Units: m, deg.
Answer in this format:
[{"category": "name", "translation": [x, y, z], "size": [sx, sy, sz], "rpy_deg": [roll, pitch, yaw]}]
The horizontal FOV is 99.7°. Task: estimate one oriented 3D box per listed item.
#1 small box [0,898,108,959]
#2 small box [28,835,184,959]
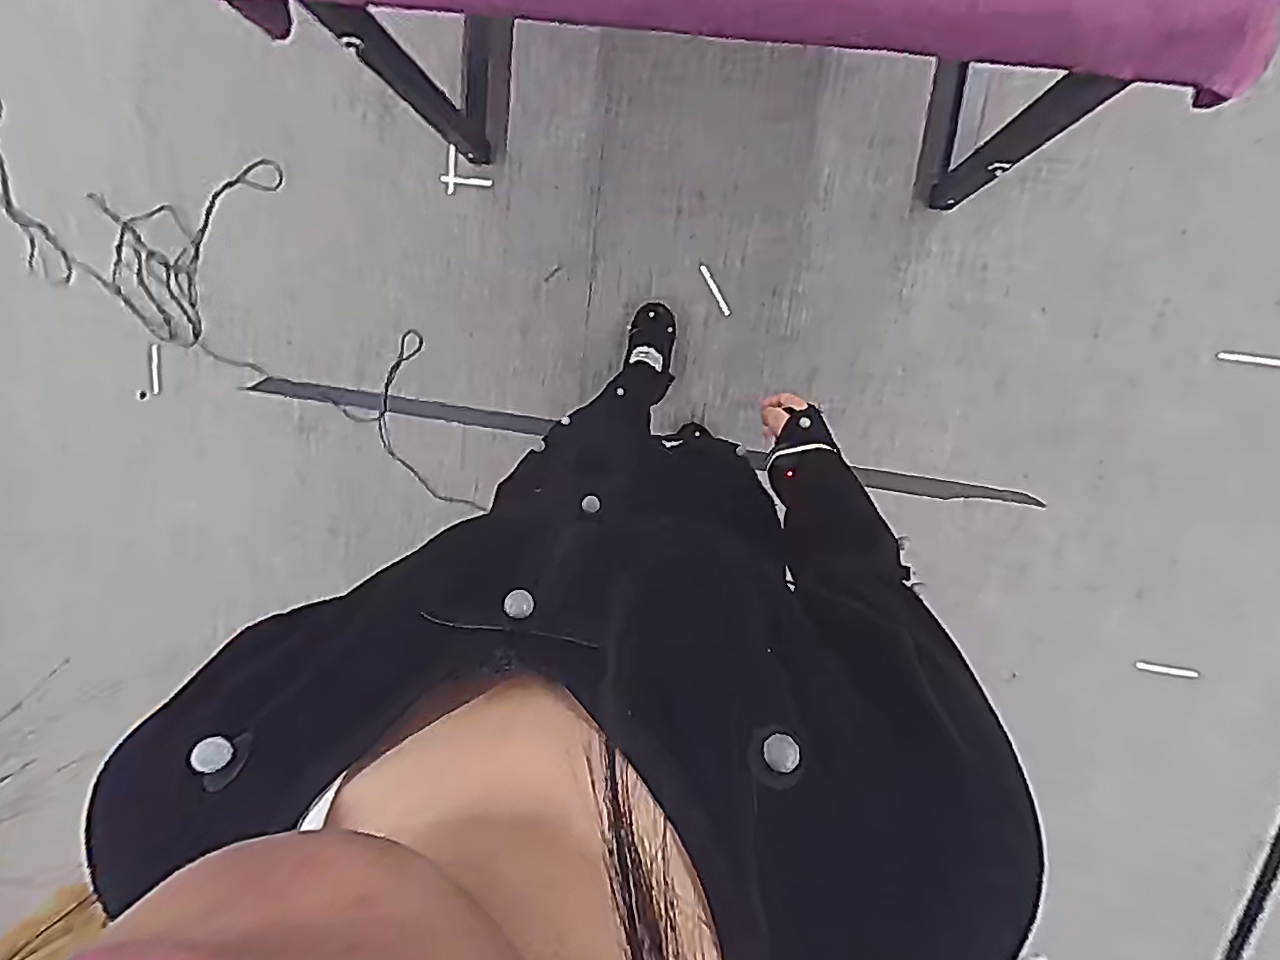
[{"category": "small box", "translation": [-1.234, 0.993, 1.079], "size": [0.179, 0.176, 0.168], "rpy_deg": [-33, 95, 11]}, {"category": "small box", "translation": [-1.216, 0.969, 1.240], "size": [0.179, 0.176, 0.168], "rpy_deg": [-33, 95, 12]}]
